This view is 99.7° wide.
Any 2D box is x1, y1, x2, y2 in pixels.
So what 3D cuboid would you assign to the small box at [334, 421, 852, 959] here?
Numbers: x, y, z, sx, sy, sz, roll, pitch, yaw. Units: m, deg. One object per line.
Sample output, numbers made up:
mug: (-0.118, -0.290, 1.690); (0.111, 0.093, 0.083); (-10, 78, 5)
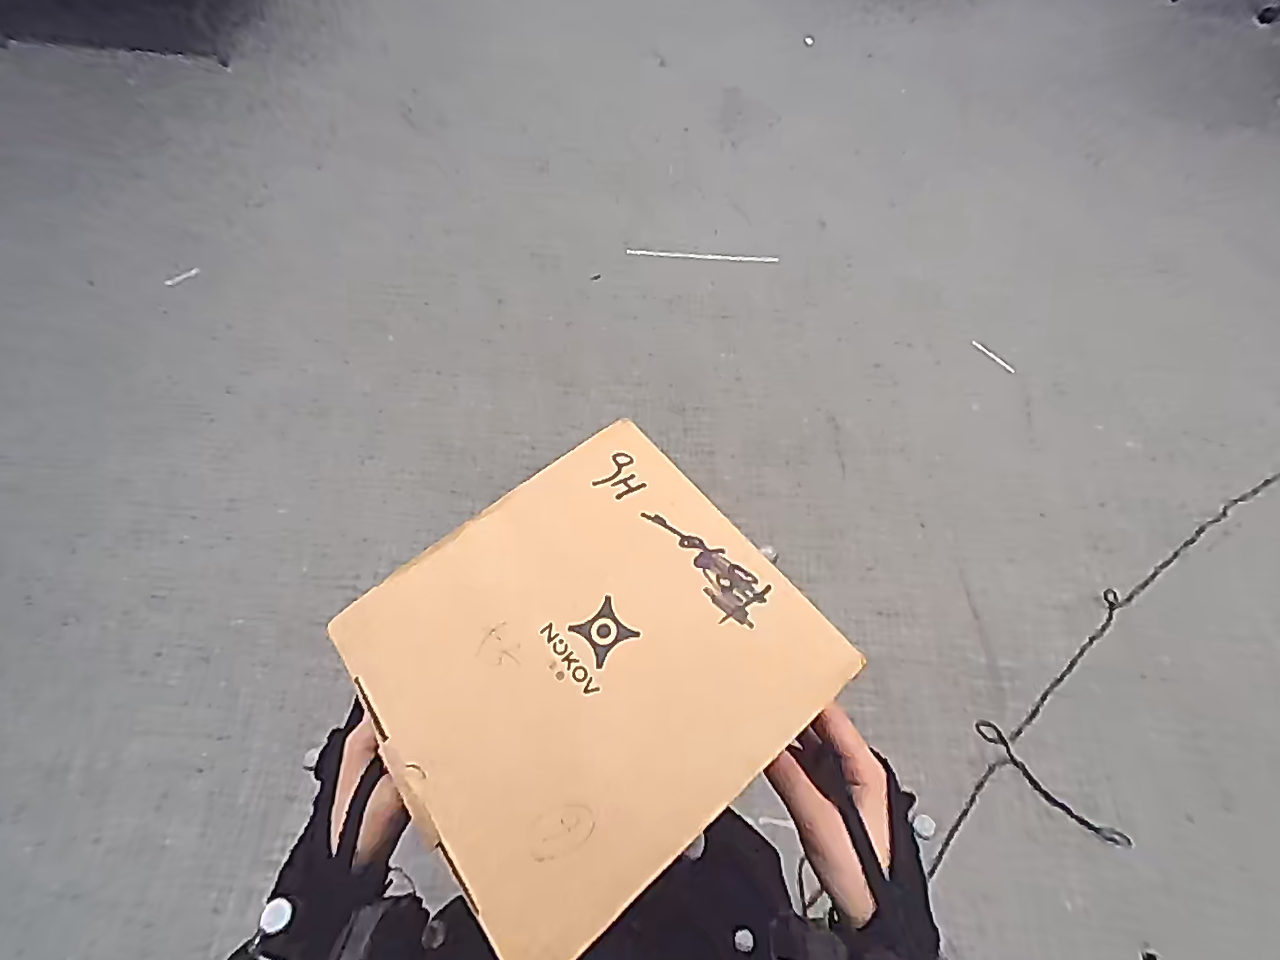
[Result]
small box: (-0.020, 0.108, 0.307); (0.179, 0.176, 0.168); (-37, 67, -15)
